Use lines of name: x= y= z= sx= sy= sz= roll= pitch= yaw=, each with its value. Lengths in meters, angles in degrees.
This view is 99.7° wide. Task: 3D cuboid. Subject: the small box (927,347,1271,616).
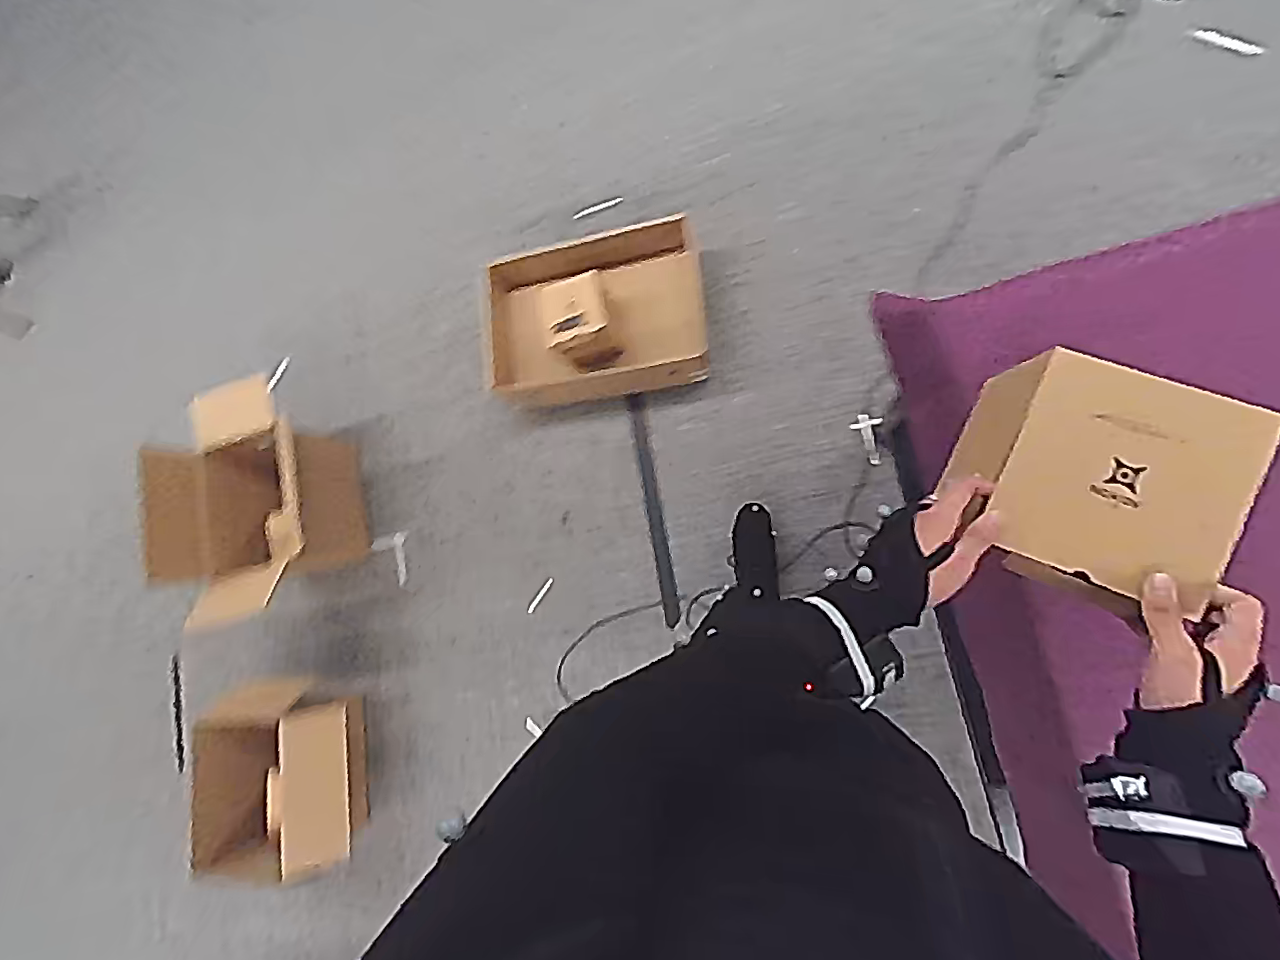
small box: x=0.397 y=-0.002 z=0.514 sx=0.168 sy=0.176 sz=0.179 roll=23 pitch=96 yaw=15
